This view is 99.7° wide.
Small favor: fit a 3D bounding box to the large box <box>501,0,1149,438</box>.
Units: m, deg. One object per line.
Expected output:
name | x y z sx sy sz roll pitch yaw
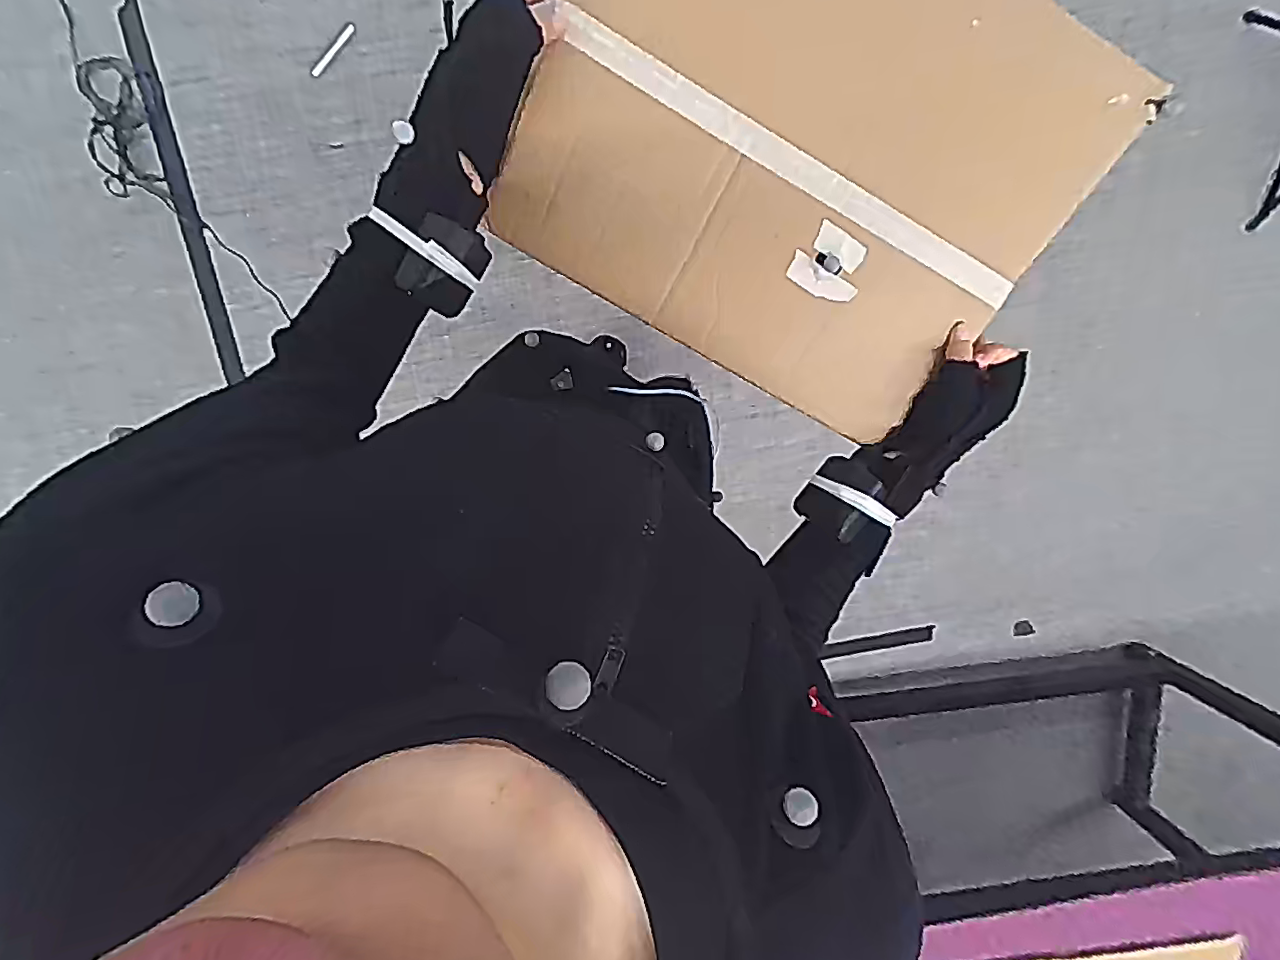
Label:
large box | 0.134 -0.307 0.558 0.408 0.320 0.320 28 115 -8
